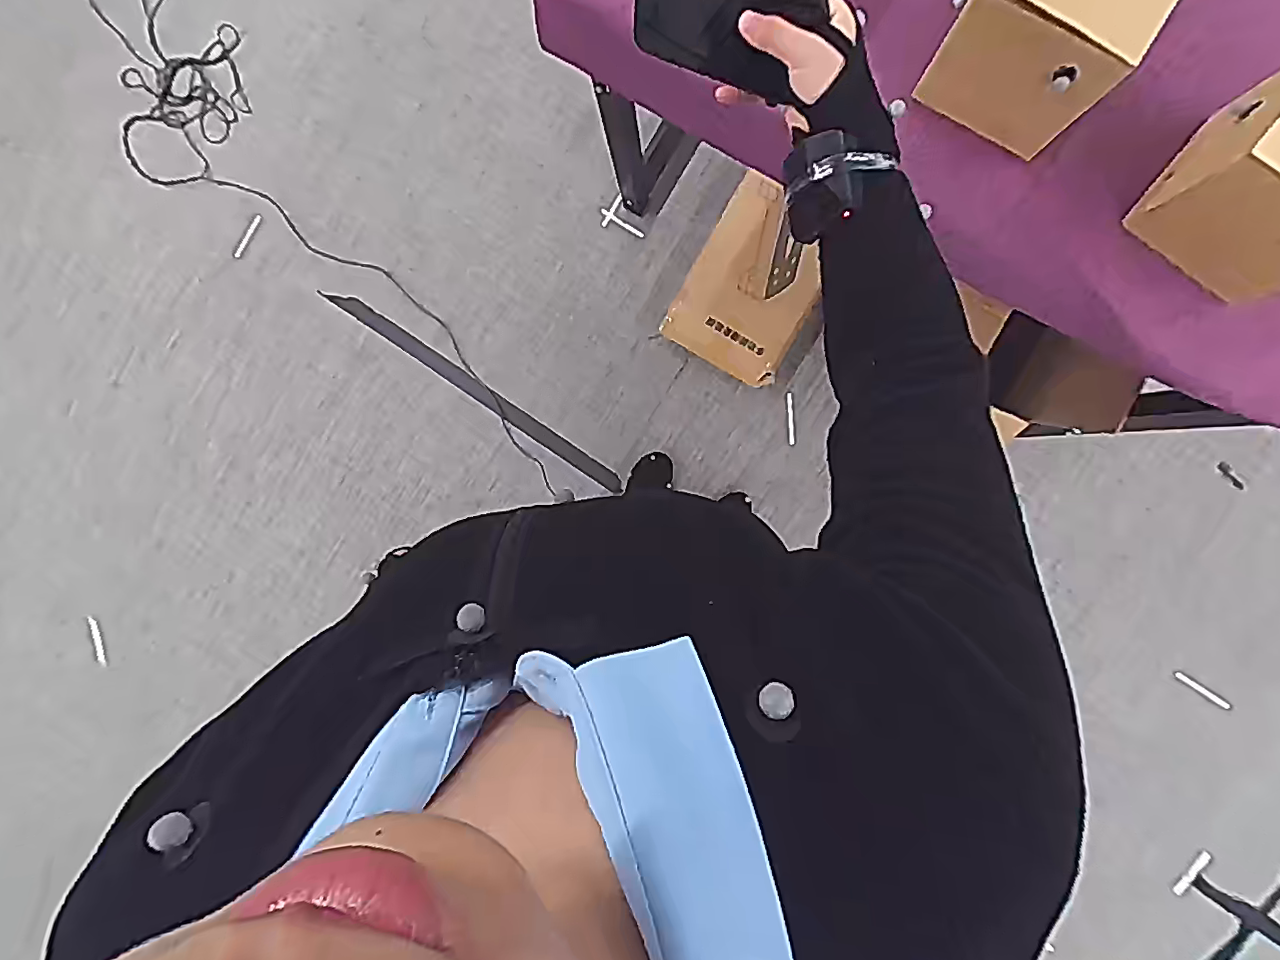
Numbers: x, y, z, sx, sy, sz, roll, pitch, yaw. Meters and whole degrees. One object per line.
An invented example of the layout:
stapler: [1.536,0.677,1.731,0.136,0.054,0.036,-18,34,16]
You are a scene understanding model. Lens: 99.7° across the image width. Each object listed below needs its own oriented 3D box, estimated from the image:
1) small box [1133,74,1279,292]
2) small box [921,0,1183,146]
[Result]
small box: [0.725,-0.338,0.599,0.179,0.176,0.168,38,95,2]
small box: [0.466,-0.522,0.610,0.179,0.176,0.168,31,93,3]
